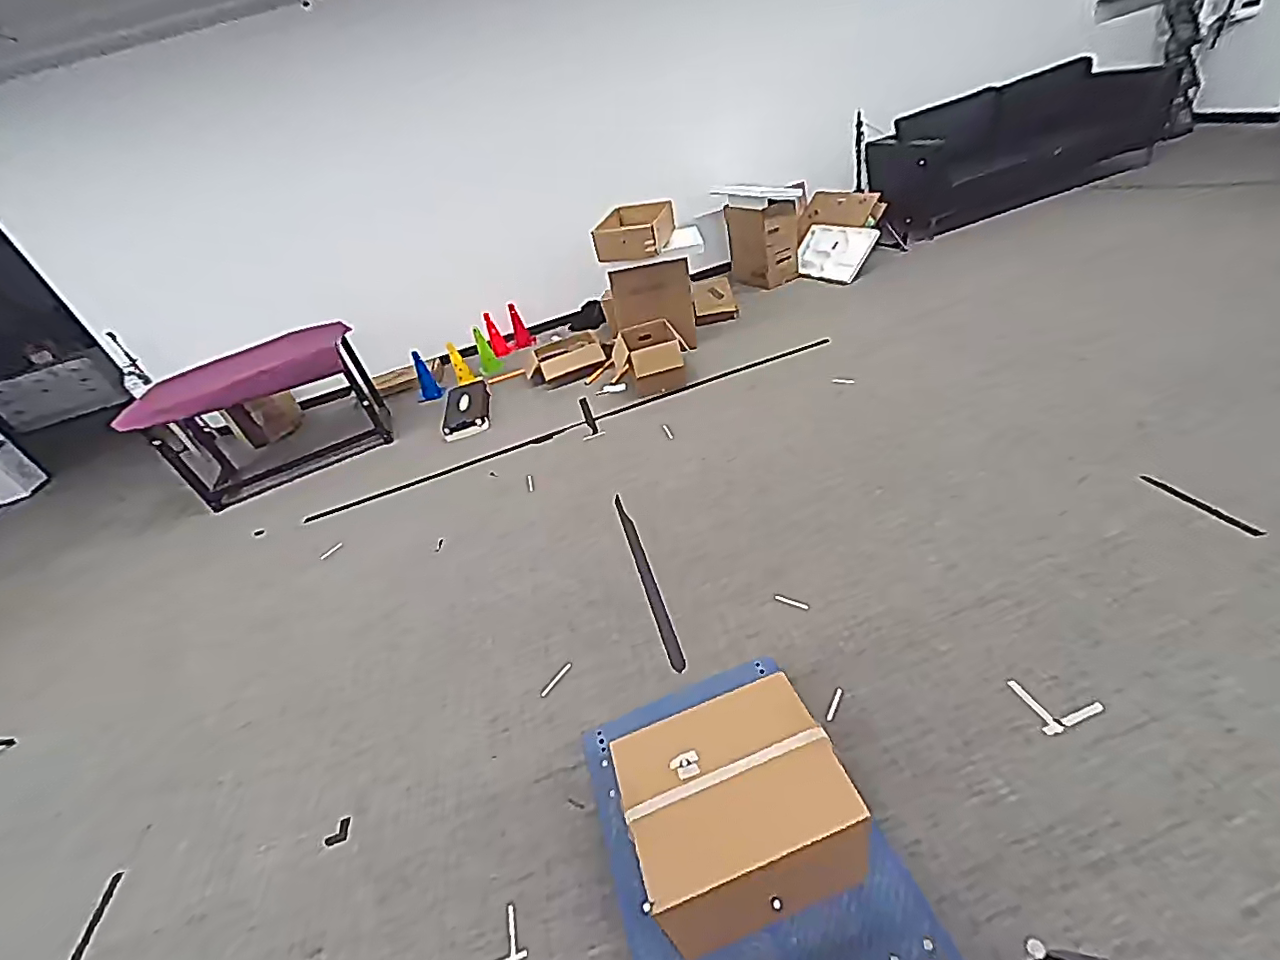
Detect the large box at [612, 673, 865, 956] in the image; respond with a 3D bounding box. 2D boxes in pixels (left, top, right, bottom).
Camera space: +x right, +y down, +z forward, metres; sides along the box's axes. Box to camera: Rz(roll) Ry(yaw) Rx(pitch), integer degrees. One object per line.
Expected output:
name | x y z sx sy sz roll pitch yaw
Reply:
large box | 0.203 0.686 1.125 0.408 0.320 0.320 -21 34 -5
